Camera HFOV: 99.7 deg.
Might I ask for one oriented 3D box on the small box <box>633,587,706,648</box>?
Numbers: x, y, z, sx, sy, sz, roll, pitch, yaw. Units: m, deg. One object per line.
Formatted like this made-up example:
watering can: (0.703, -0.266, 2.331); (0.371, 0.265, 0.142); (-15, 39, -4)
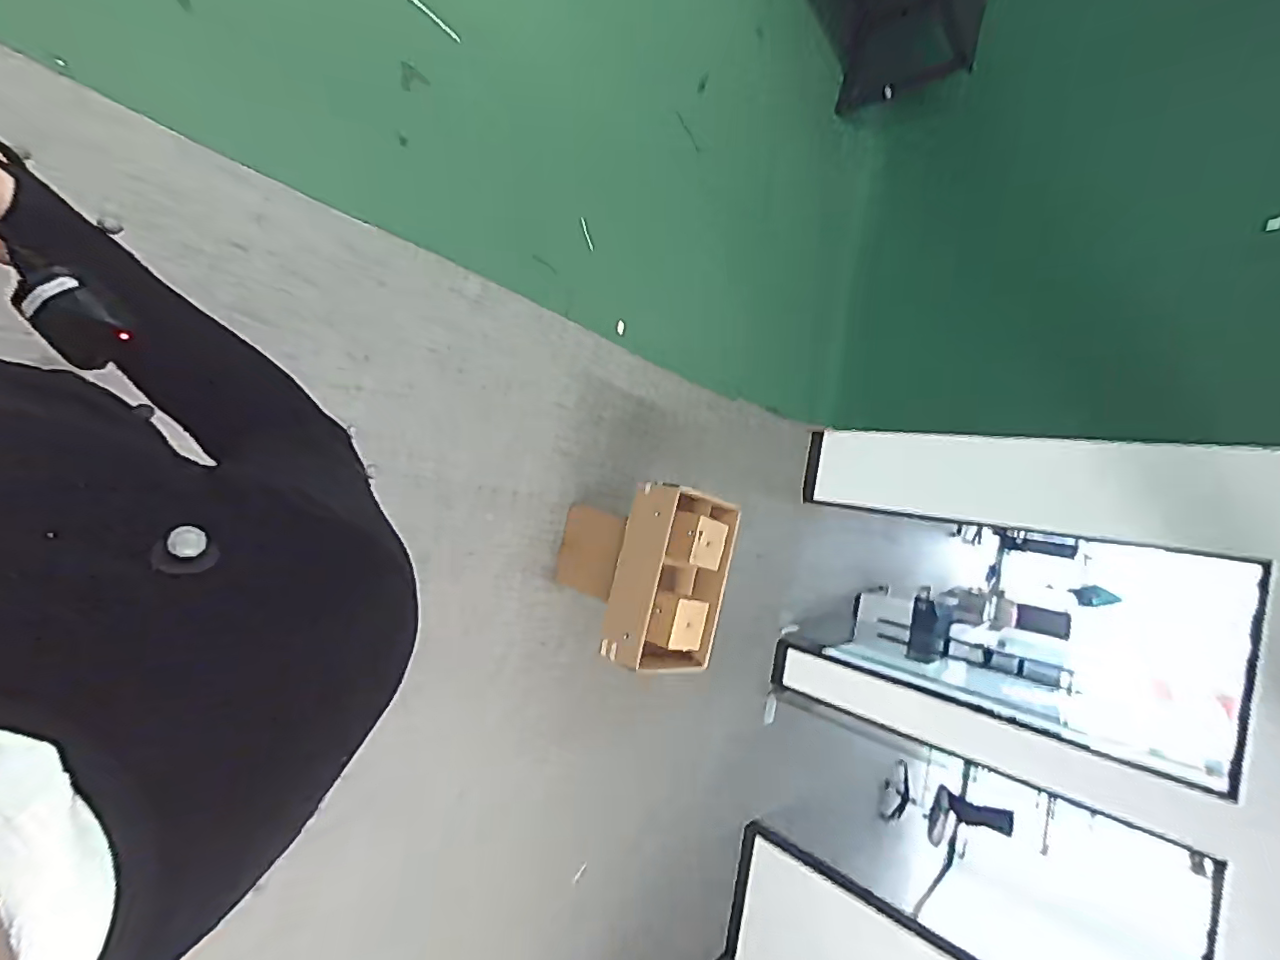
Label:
small box: (0.100, 0.477, 1.880); (0.179, 0.176, 0.168); (20, 81, -47)

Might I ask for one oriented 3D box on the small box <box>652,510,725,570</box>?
small box: (0.170, 0.208, 1.910); (0.179, 0.176, 0.168); (23, 78, -46)
